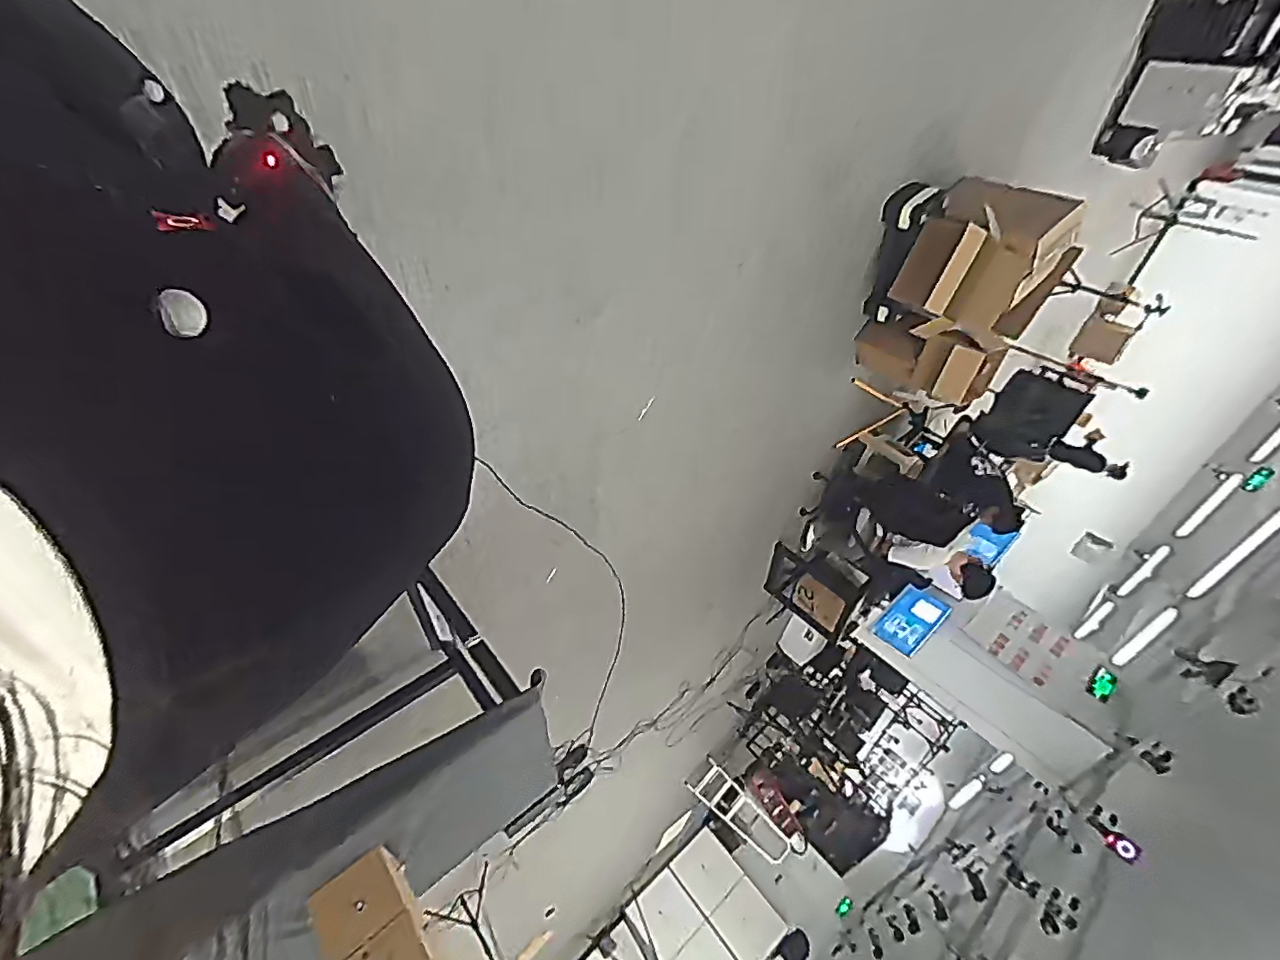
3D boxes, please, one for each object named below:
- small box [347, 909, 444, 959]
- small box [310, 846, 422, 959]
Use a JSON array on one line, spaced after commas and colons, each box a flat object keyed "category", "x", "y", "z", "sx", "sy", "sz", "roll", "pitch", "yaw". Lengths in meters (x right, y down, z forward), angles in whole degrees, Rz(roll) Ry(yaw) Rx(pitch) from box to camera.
[{"category": "small box", "x": -0.543, "y": 1.115, "z": 1.211, "sx": 0.168, "sy": 0.176, "sz": 0.179, "roll": -30, "pitch": 141, "yaw": -30}, {"category": "small box", "x": -0.656, "y": 1.029, "z": 1.291, "sx": 0.179, "sy": 0.176, "sz": 0.168, "roll": -31, "pitch": 142, "yaw": -26}]
